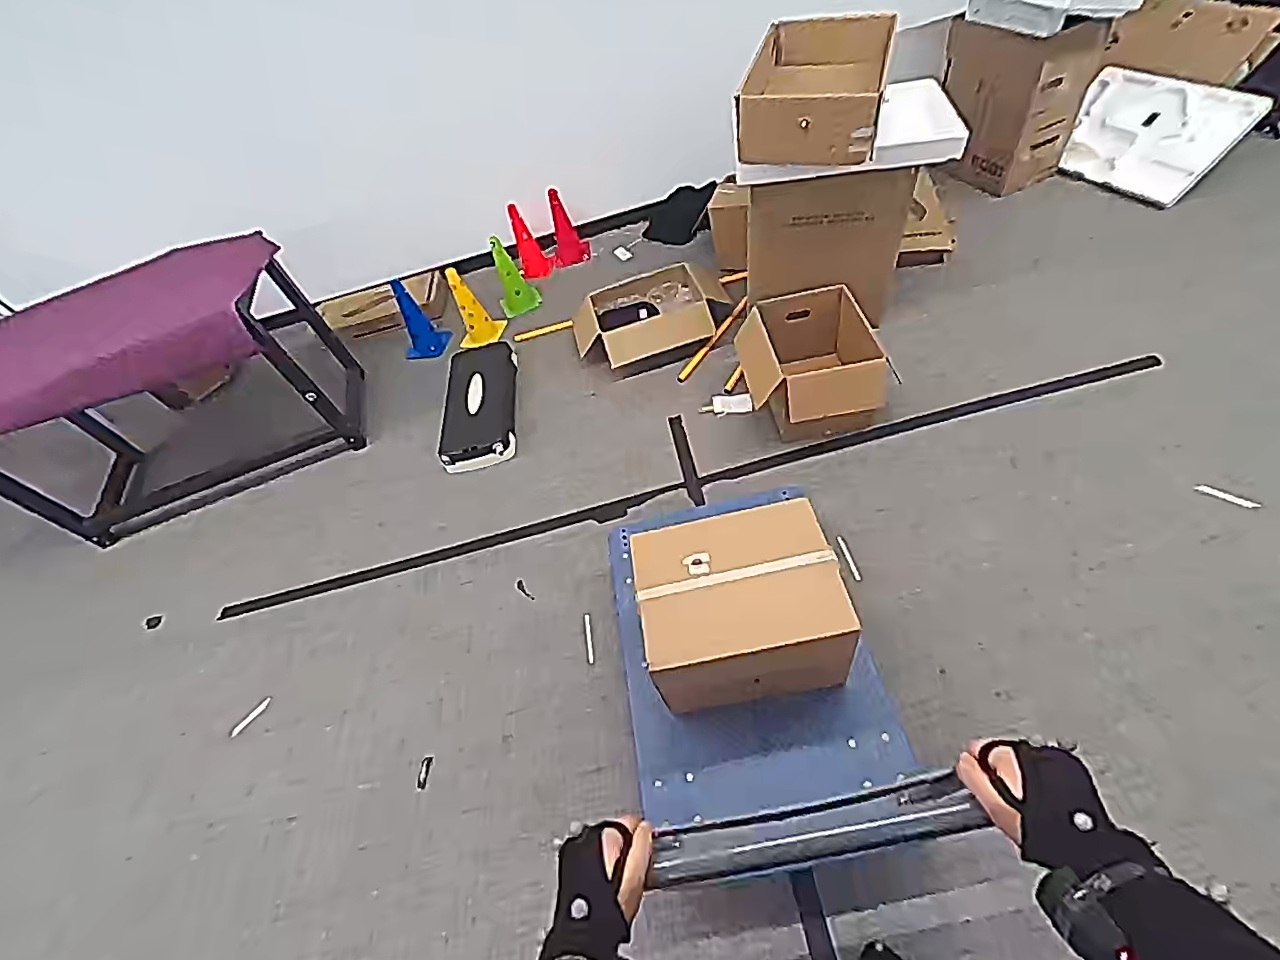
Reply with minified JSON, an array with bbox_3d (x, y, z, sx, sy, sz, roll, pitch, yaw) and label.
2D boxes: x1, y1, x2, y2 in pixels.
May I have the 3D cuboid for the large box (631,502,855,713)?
[{"bbox_3d":[0.223,0.299,1.228,0.408,0.320,0.320,-14,50,5],"label":"large box"}]
